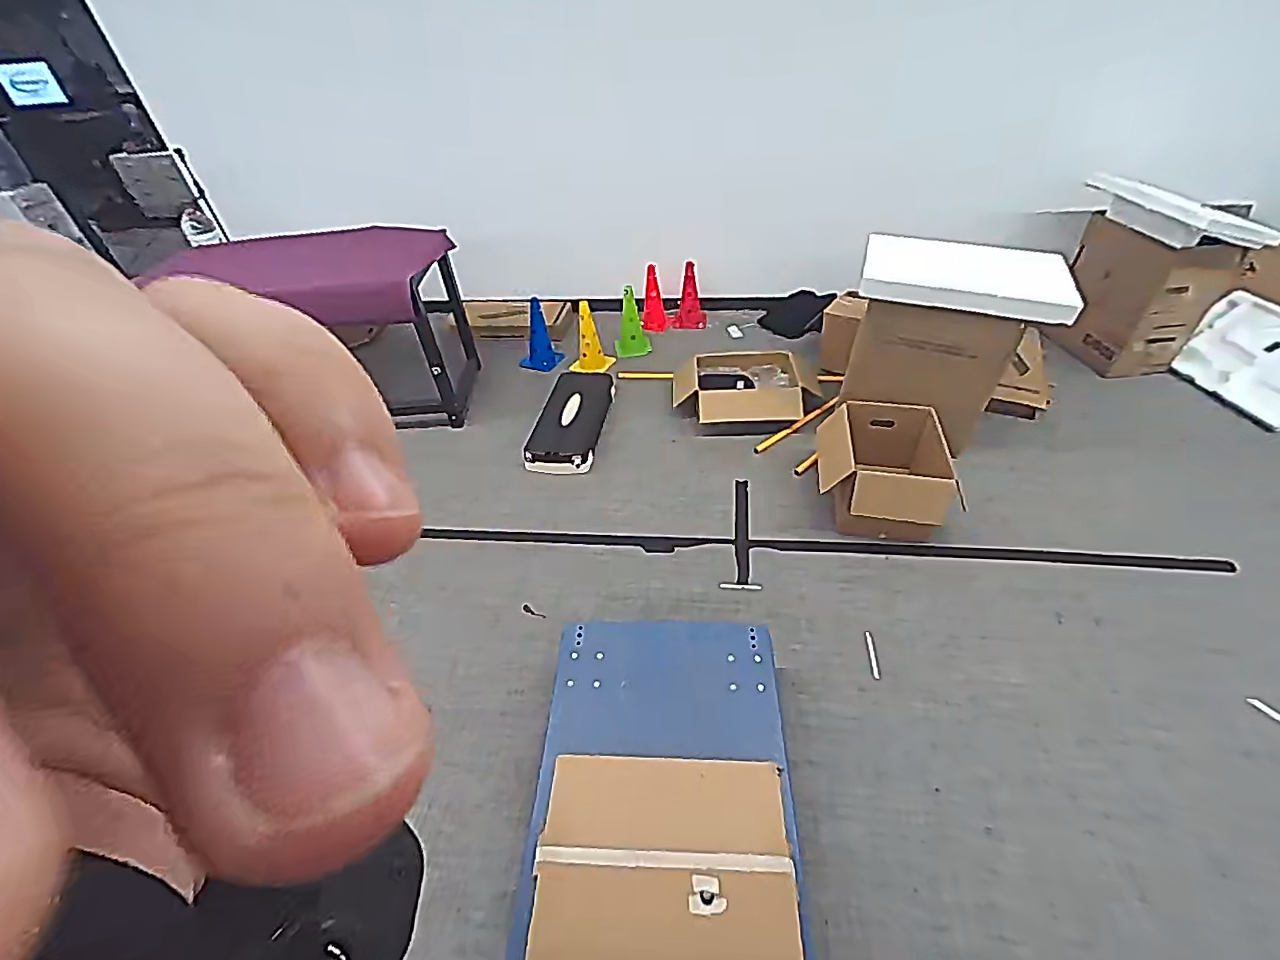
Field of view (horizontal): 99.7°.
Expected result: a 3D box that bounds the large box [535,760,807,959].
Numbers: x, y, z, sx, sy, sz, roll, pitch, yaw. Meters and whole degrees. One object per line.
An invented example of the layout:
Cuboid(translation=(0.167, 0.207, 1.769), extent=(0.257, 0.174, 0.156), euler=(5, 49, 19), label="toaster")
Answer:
Cuboid(translation=(0.051, 0.730, 0.974), extent=(0.408, 0.320, 0.320), euler=(0, 43, 3), label="large box")
